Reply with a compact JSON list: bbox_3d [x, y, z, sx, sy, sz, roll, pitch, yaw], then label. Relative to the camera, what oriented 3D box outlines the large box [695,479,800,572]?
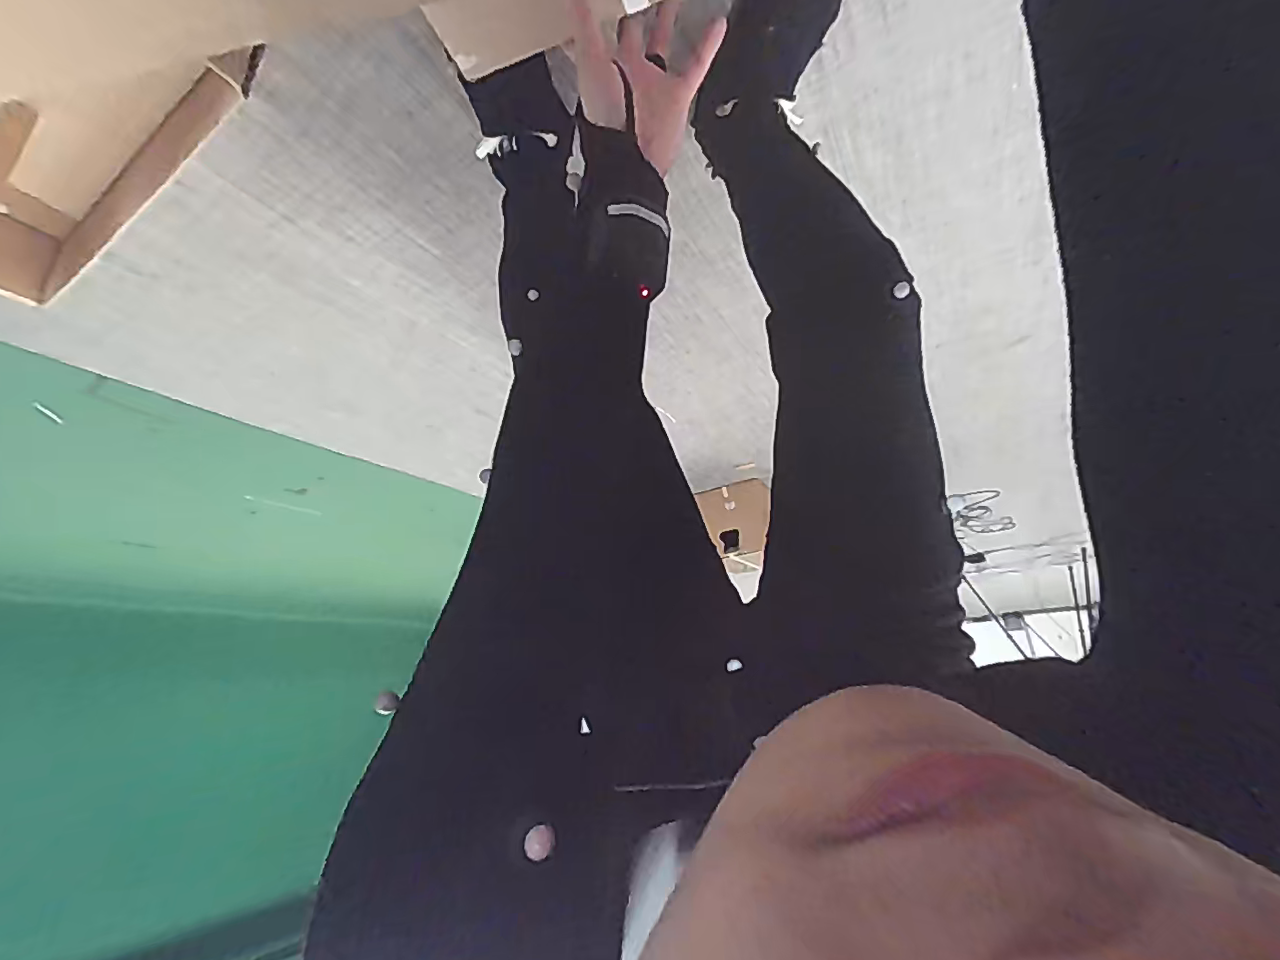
[{"bbox_3d":[0.486,0.218,2.438,0.320,0.320,0.408,-15,157,29],"label":"large box"}]

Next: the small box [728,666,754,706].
[{"bbox_3d":[0.421,0.958,2.512,0.168,0.176,0.179,-14,155,28],"label":"small box"}]
